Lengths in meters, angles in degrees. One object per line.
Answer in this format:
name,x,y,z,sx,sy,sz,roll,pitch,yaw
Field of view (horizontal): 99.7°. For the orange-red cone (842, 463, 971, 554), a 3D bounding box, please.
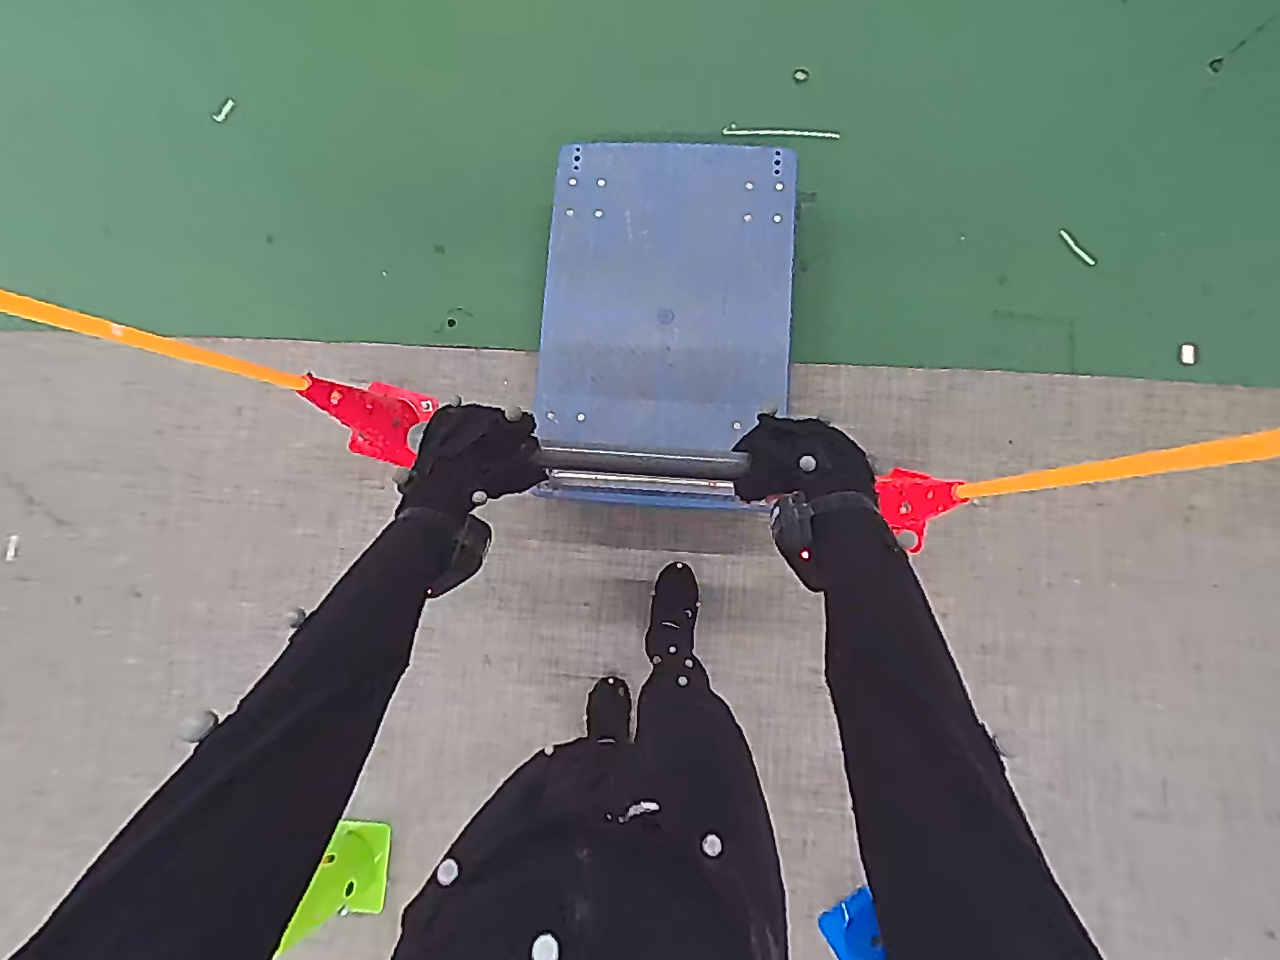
orange-red cone,0.602,0.047,1.165,0.198,0.360,0.199,15,84,5
